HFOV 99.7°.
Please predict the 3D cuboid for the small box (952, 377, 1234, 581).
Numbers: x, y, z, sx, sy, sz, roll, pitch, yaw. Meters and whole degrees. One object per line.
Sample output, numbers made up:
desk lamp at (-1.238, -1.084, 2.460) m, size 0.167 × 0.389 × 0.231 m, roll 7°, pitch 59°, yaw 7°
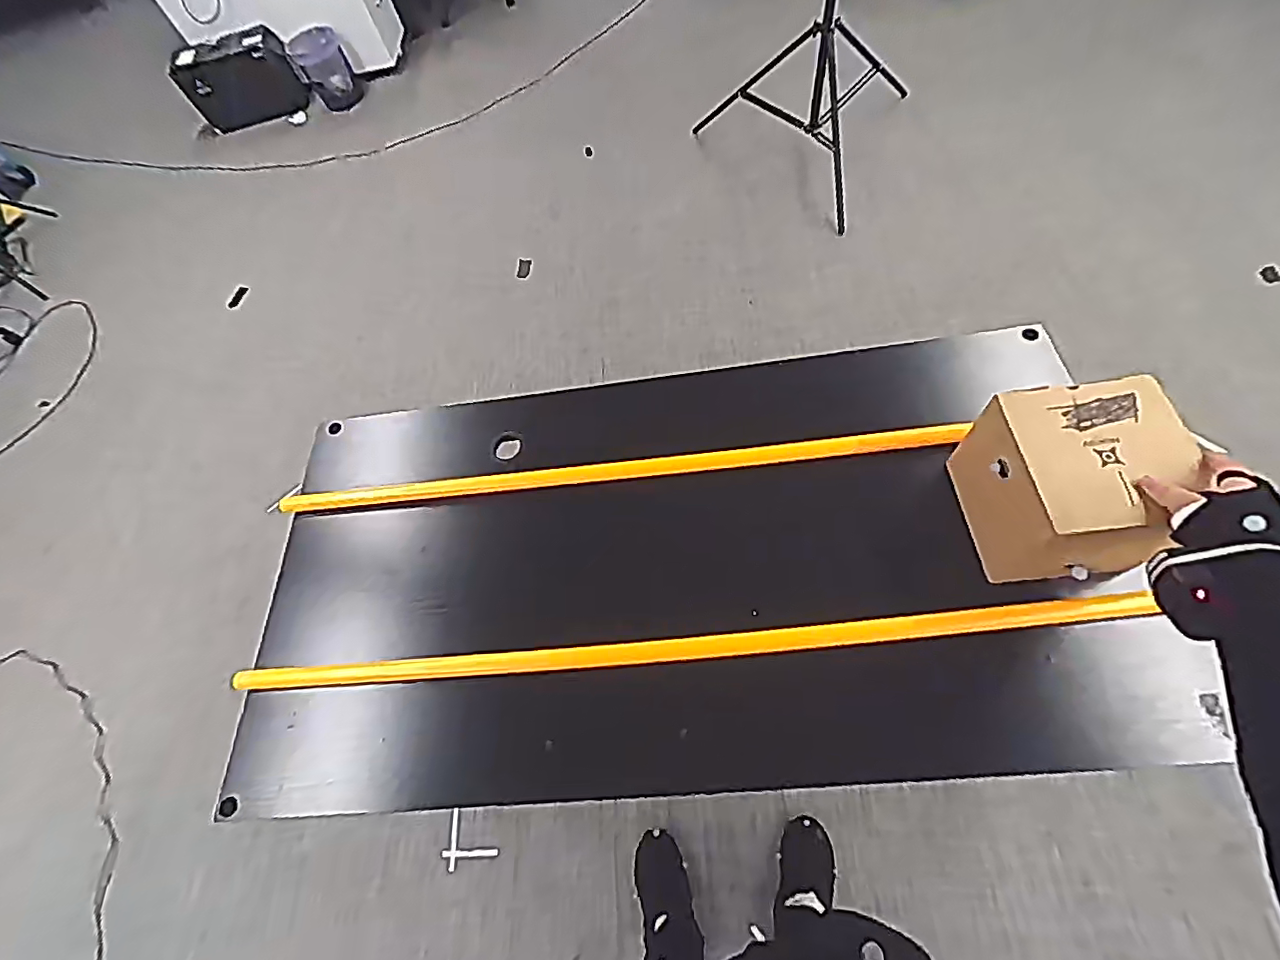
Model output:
small box at (0.500, 0.006, 0.638) m, size 0.168 × 0.176 × 0.179 m, roll -7°, pitch 62°, yaw 7°
